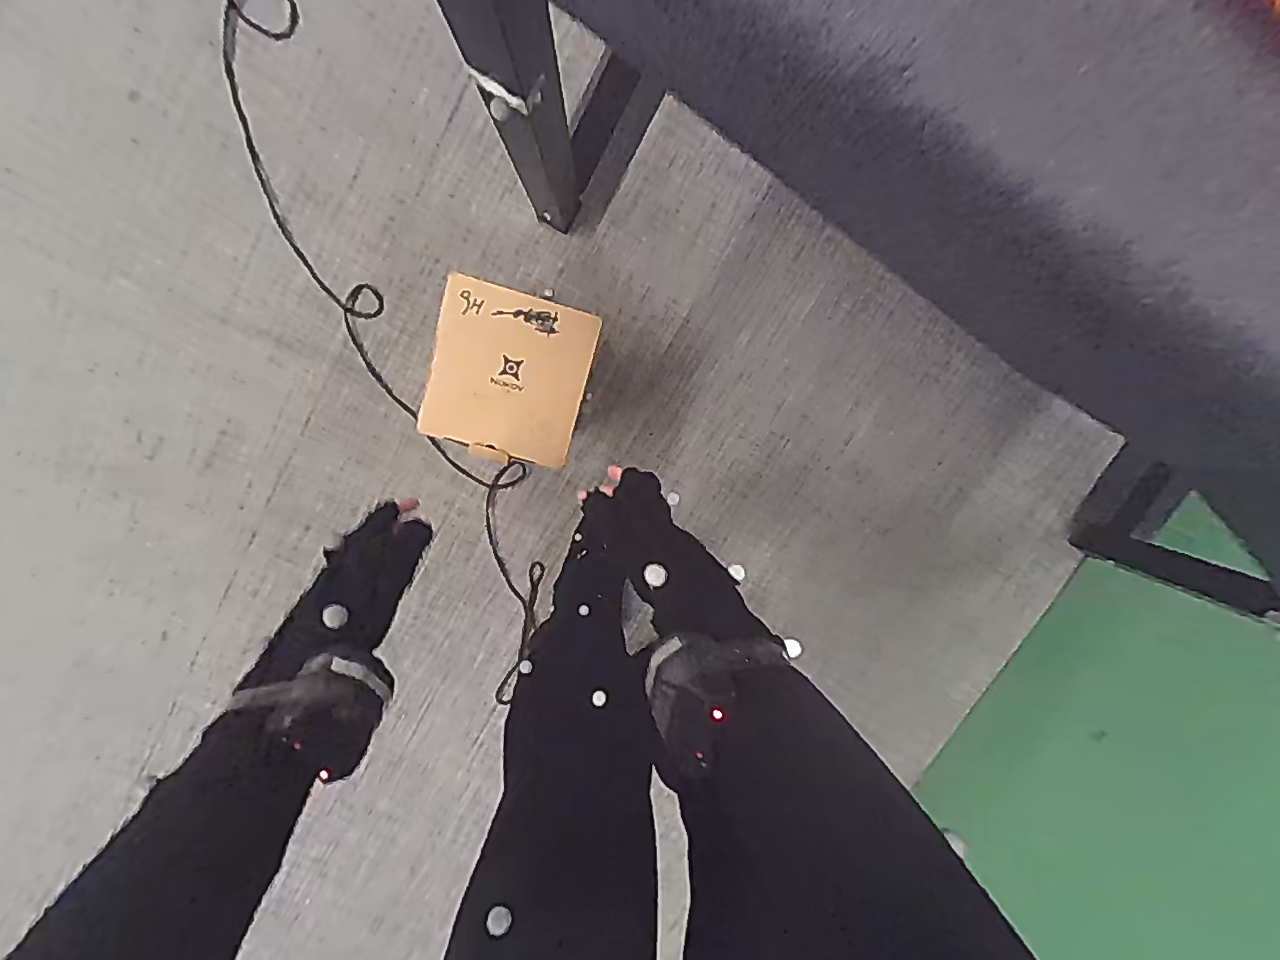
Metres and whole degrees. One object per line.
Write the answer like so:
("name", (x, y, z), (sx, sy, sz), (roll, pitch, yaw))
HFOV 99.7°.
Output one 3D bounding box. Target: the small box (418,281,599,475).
("small box", (-0.147, -0.121, 0.660), (0.168, 0.176, 0.179), (13, 100, -4))
